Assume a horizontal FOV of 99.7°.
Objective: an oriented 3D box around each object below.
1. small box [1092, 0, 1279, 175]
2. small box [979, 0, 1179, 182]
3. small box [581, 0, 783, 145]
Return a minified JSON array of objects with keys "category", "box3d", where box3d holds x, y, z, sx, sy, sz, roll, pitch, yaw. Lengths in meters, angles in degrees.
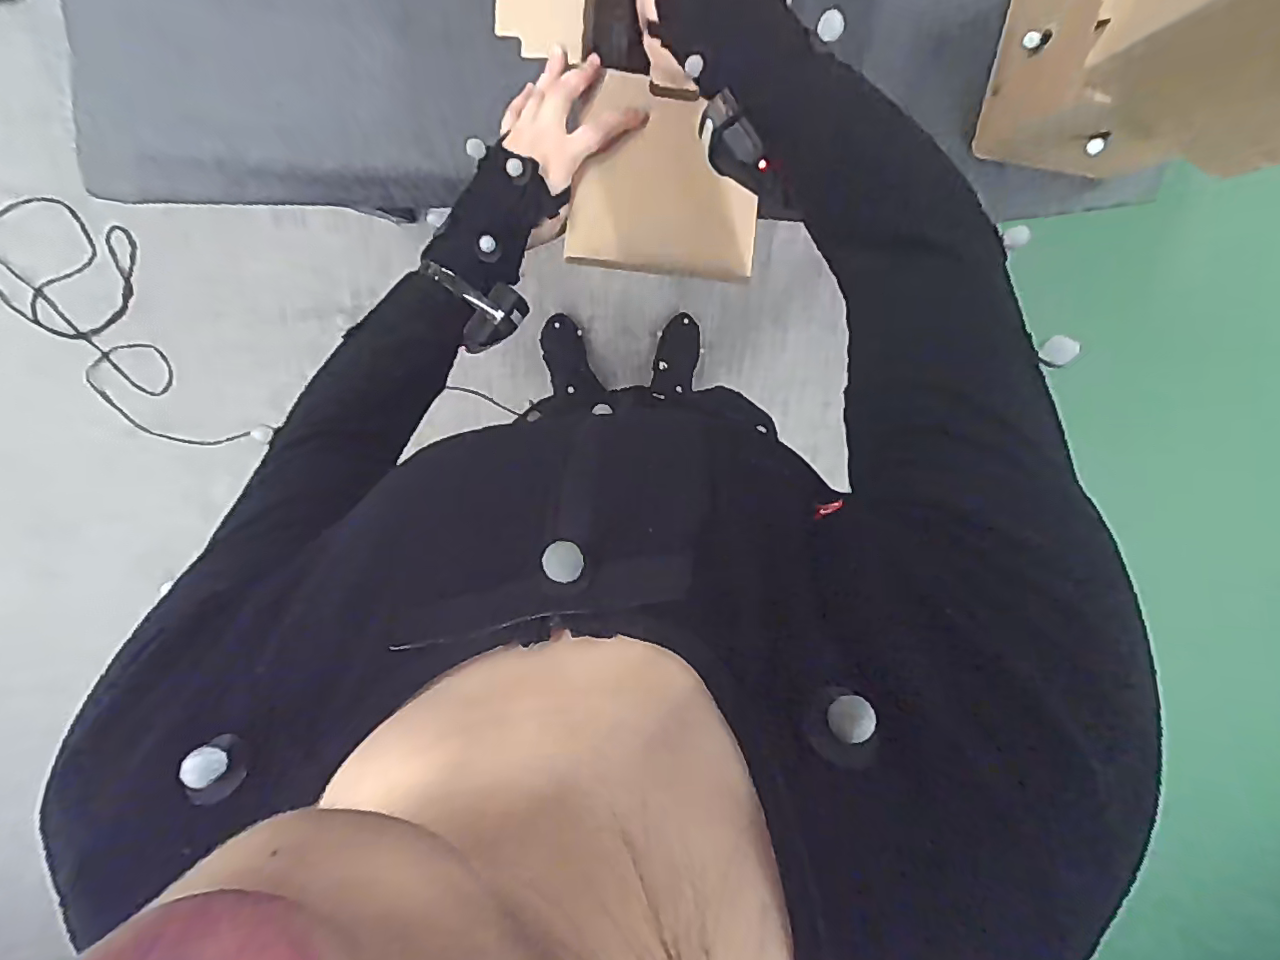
[{"category":"small box","box3d":[0.490,-0.350,0.380,0.179,0.176,0.168,27,103,-10]},{"category":"small box","box3d":[0.481,-0.412,0.532,0.179,0.176,0.168,7,106,-3]},{"category":"small box","box3d":[0.039,-0.440,0.511,0.168,0.176,0.179,4,107,-2]}]
